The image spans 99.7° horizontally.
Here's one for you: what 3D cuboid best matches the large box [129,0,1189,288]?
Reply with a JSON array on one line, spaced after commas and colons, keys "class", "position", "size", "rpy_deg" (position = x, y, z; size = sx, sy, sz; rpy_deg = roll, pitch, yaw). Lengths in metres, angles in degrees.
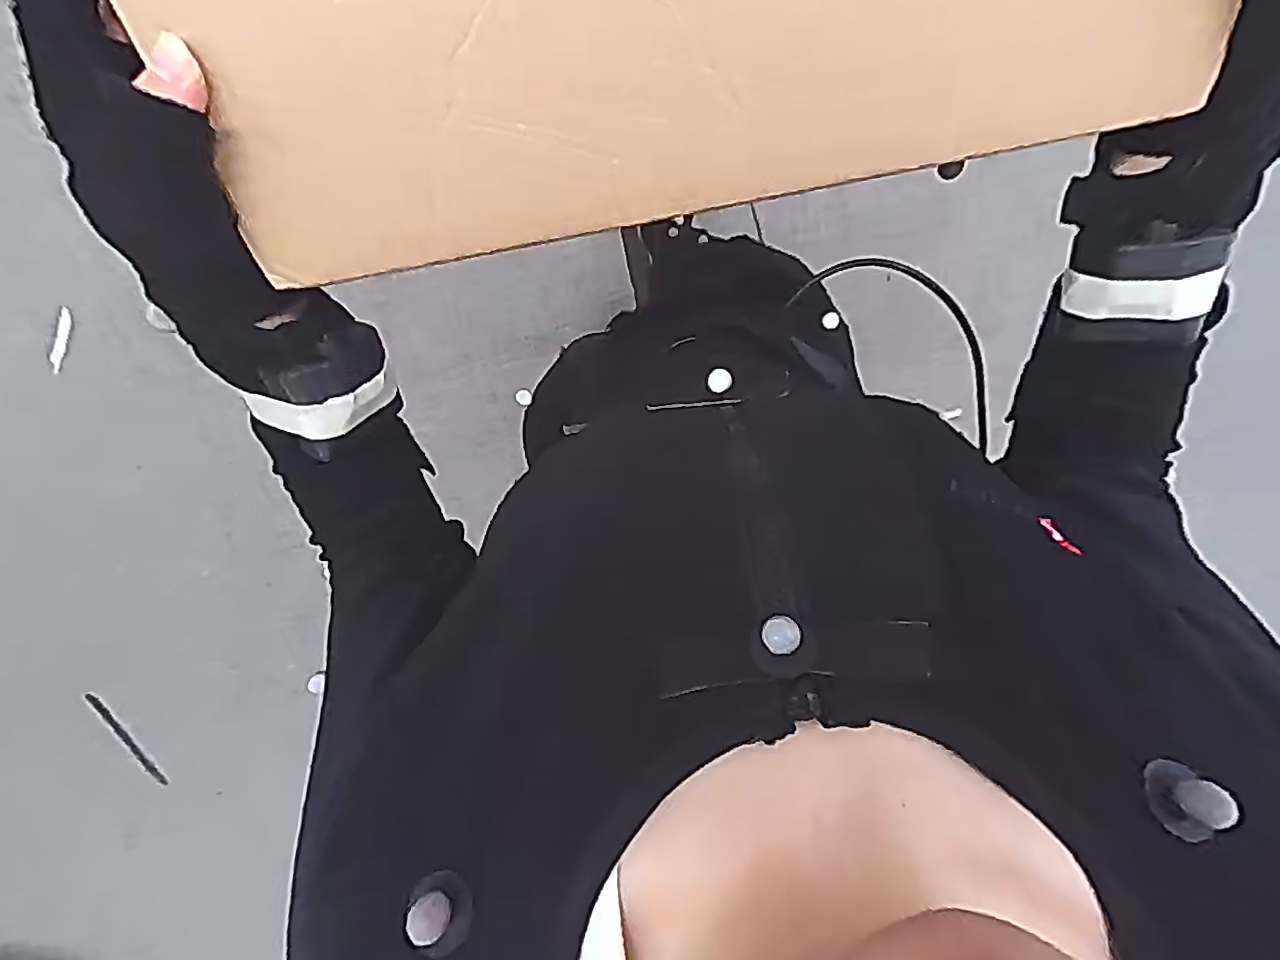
[{"class": "large box", "position": [-0.004, -0.334, 0.280], "size": [0.408, 0.320, 0.320], "rpy_deg": [-10, 124, 3]}]
